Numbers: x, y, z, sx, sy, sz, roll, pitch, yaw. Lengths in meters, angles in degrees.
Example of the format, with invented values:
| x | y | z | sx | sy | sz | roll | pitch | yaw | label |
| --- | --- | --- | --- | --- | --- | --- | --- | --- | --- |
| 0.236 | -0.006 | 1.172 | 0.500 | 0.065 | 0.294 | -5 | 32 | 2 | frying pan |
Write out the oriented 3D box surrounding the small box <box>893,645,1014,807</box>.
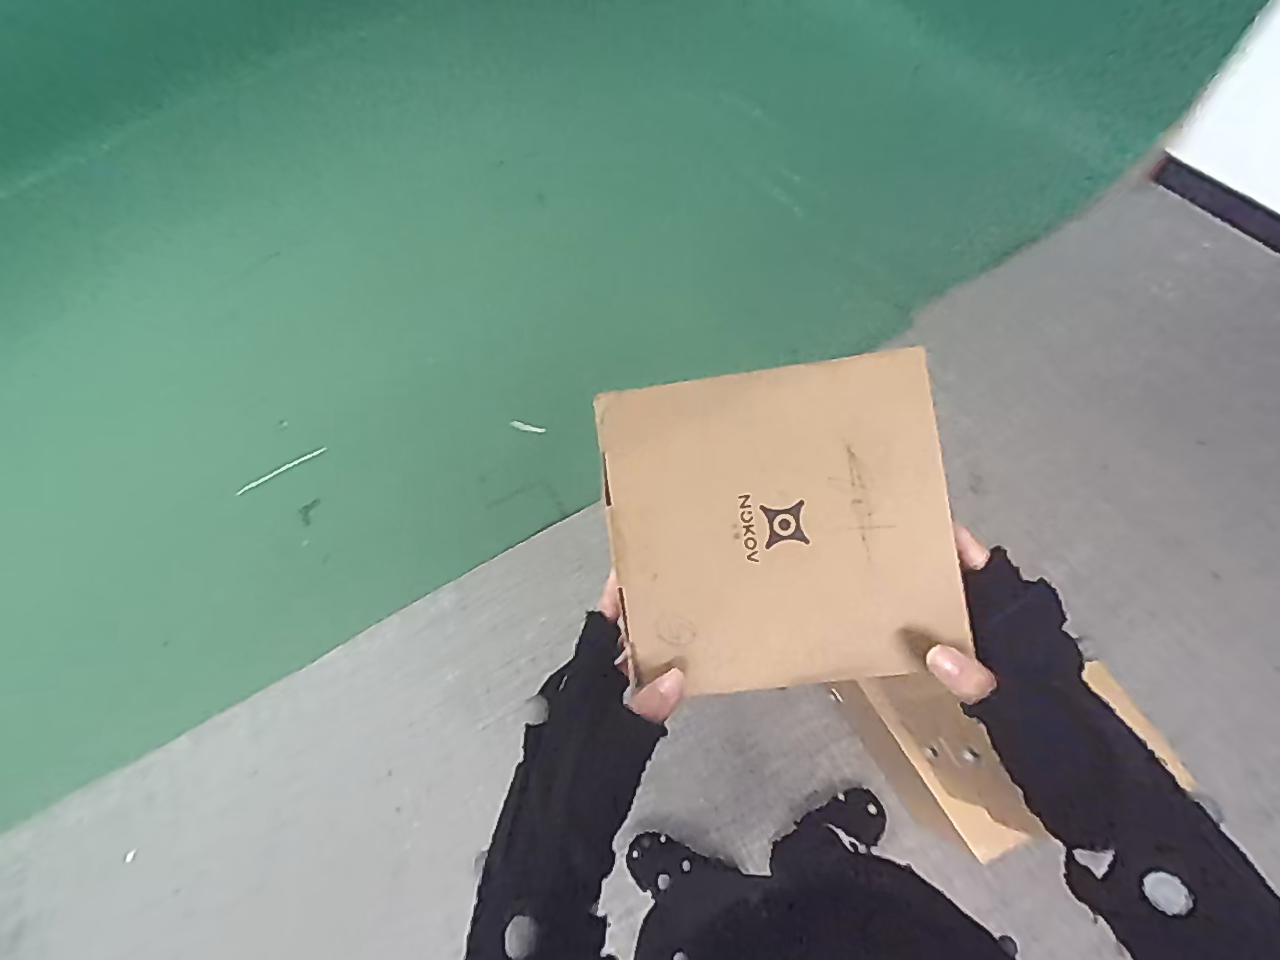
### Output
| x | y | z | sx | sy | sz | roll | pitch | yaw | label |
| --- | --- | --- | --- | --- | --- | --- | --- | --- | --- |
| 0.526 | 0.383 | 0.850 | 0.179 | 0.176 | 0.168 | -26 | 64 | -2 | small box |

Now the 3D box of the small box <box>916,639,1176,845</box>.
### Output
| x | y | z | sx | sy | sz | roll | pitch | yaw | label |
| --- | --- | --- | --- | --- | --- | --- | --- | --- | --- |
| 0.496 | 0.328 | 0.697 | 0.168 | 0.176 | 0.179 | -23 | 63 | -1 | small box |
